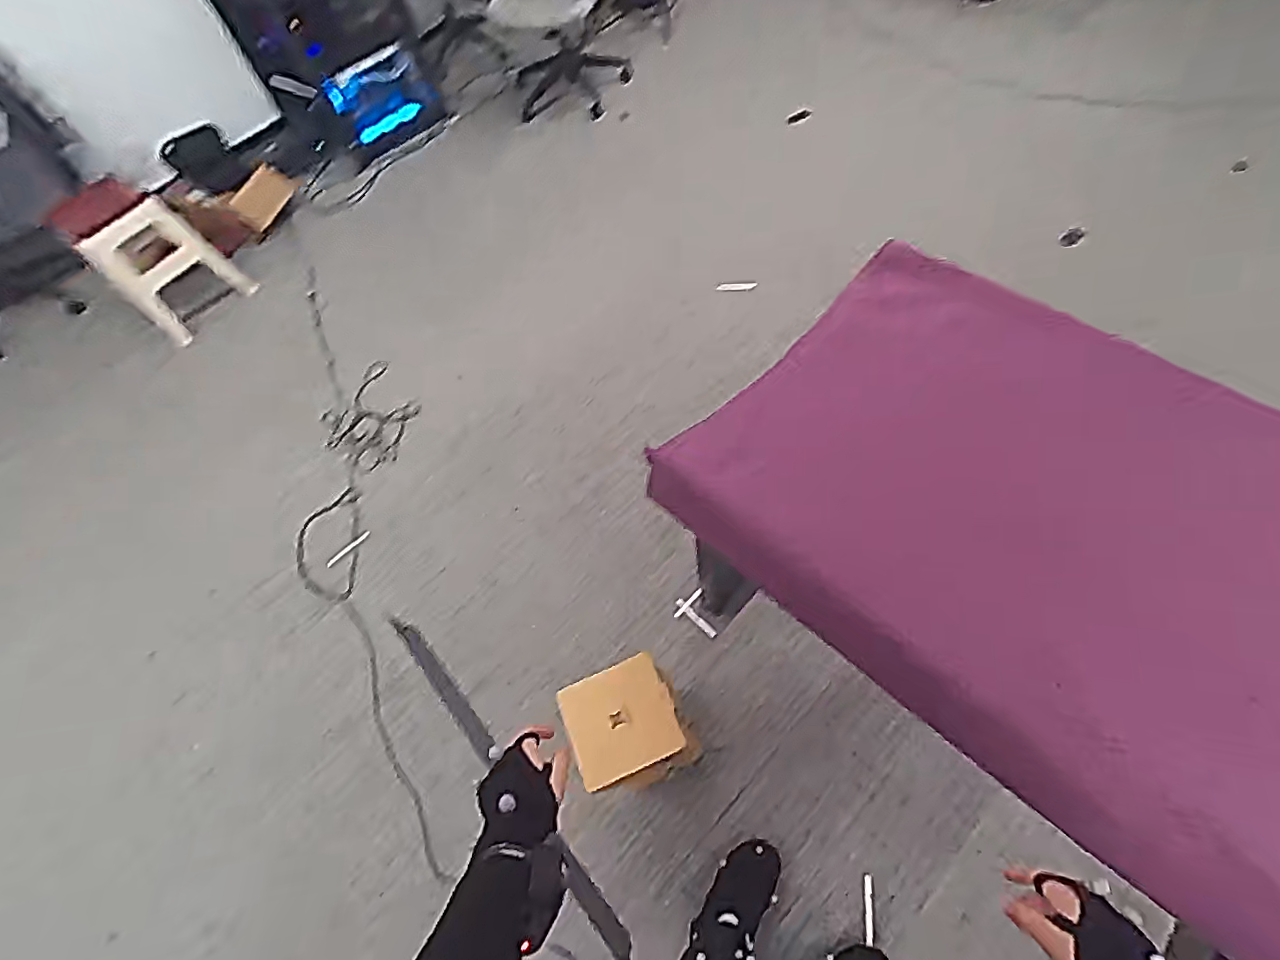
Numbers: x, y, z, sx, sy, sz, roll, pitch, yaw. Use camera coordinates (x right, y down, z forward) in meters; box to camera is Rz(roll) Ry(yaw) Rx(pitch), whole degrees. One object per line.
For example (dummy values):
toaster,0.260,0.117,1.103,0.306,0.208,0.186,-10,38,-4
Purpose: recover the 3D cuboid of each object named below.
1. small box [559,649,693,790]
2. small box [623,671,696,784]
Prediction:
small box,-0.019,0.426,0.957,0.179,0.176,0.168,-25,62,-5
small box,0.008,0.505,1.097,0.179,0.176,0.168,-18,60,-1
